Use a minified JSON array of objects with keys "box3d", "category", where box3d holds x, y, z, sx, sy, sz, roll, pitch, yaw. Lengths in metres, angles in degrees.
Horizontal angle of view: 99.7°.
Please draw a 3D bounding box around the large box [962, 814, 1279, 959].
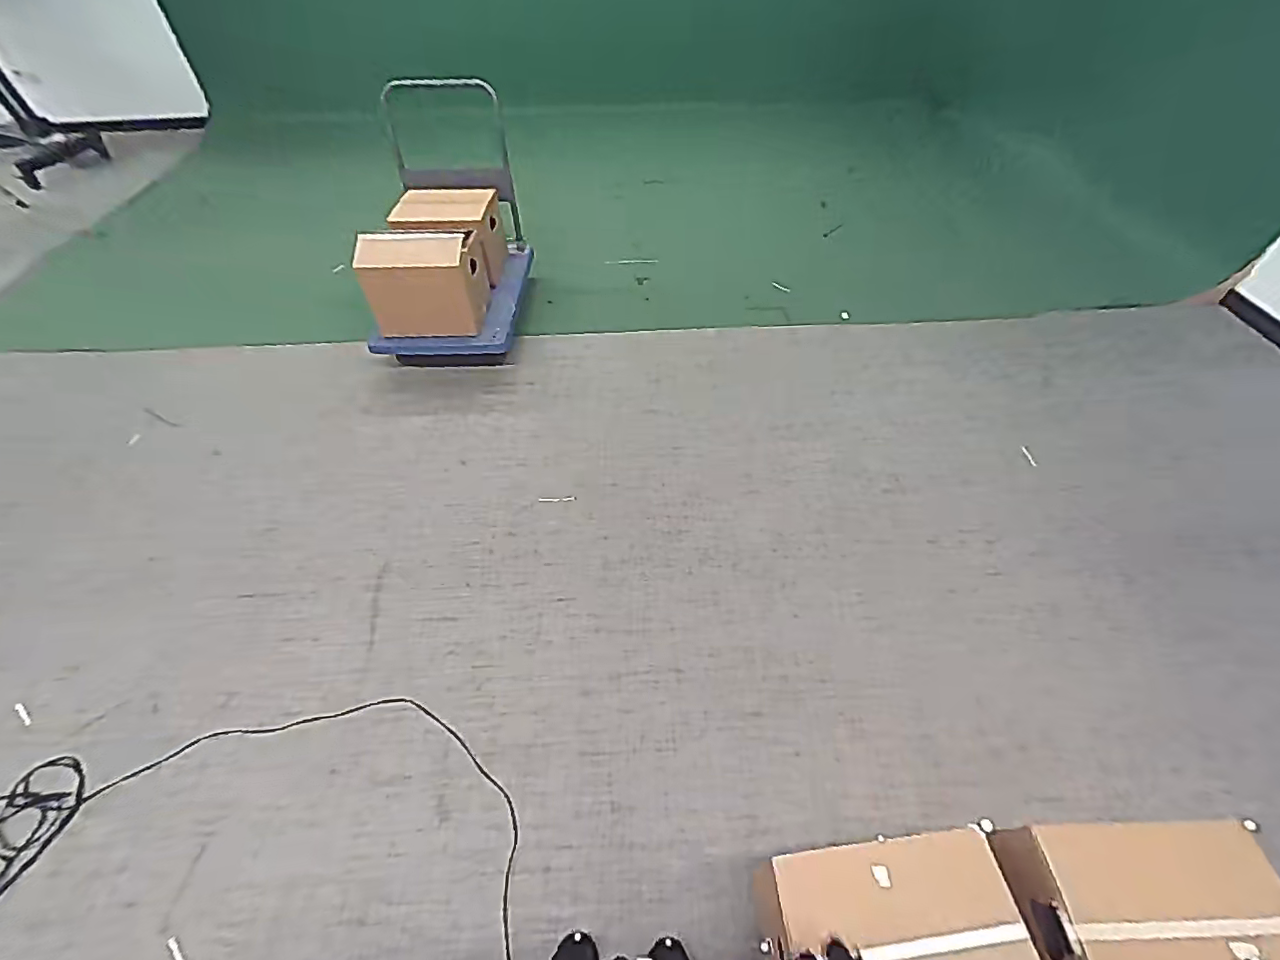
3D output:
[{"box3d":[0.930,0.847,1.025,0.408,0.320,0.320,-1,50,-1],"category":"large box"}]
